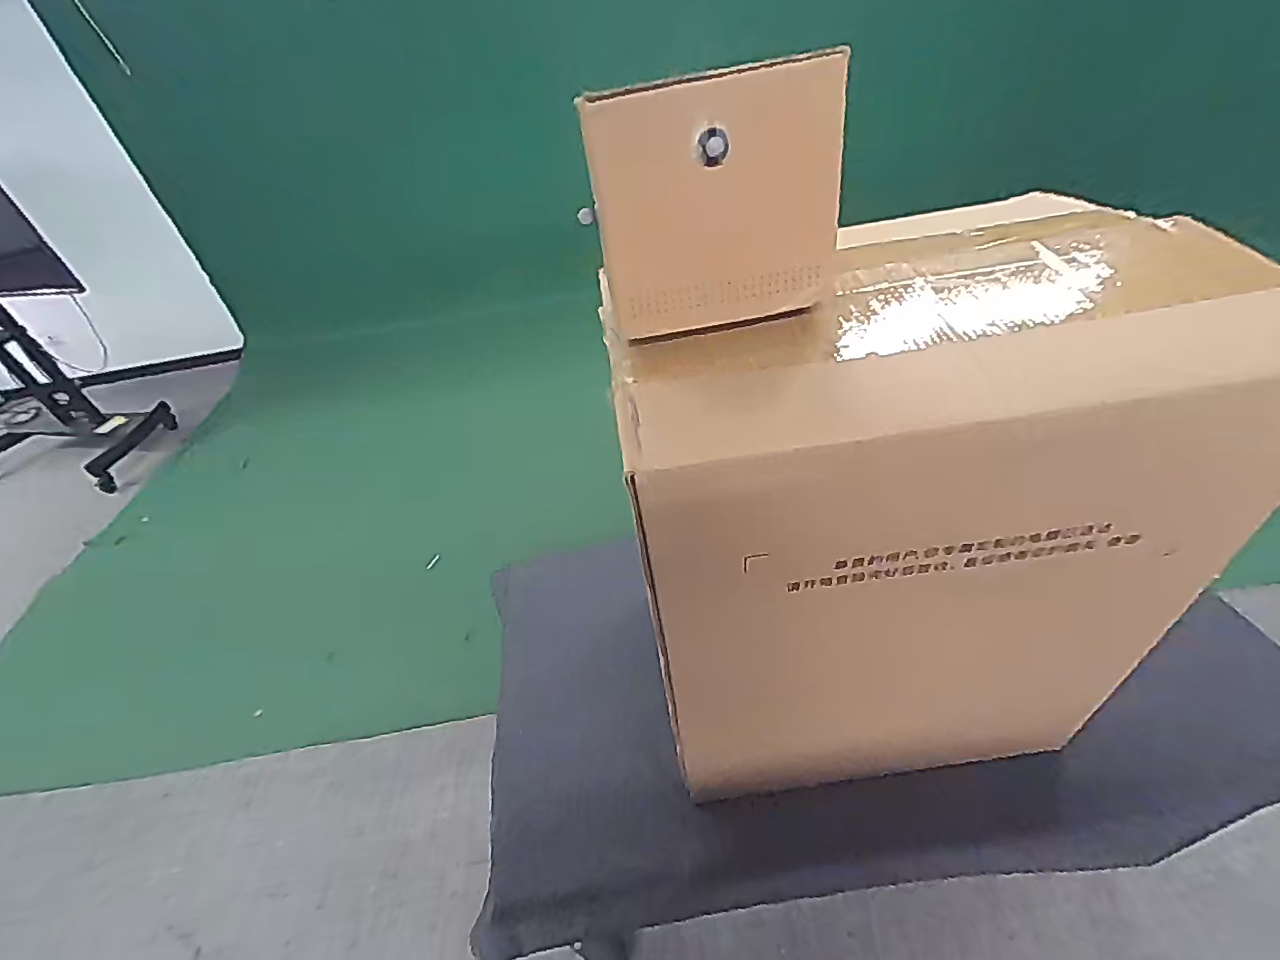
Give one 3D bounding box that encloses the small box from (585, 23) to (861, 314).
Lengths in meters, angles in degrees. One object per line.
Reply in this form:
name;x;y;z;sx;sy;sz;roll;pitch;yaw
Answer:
small box;0.056;-0.247;0.447;0.179;0.176;0.168;-9;35;-3
